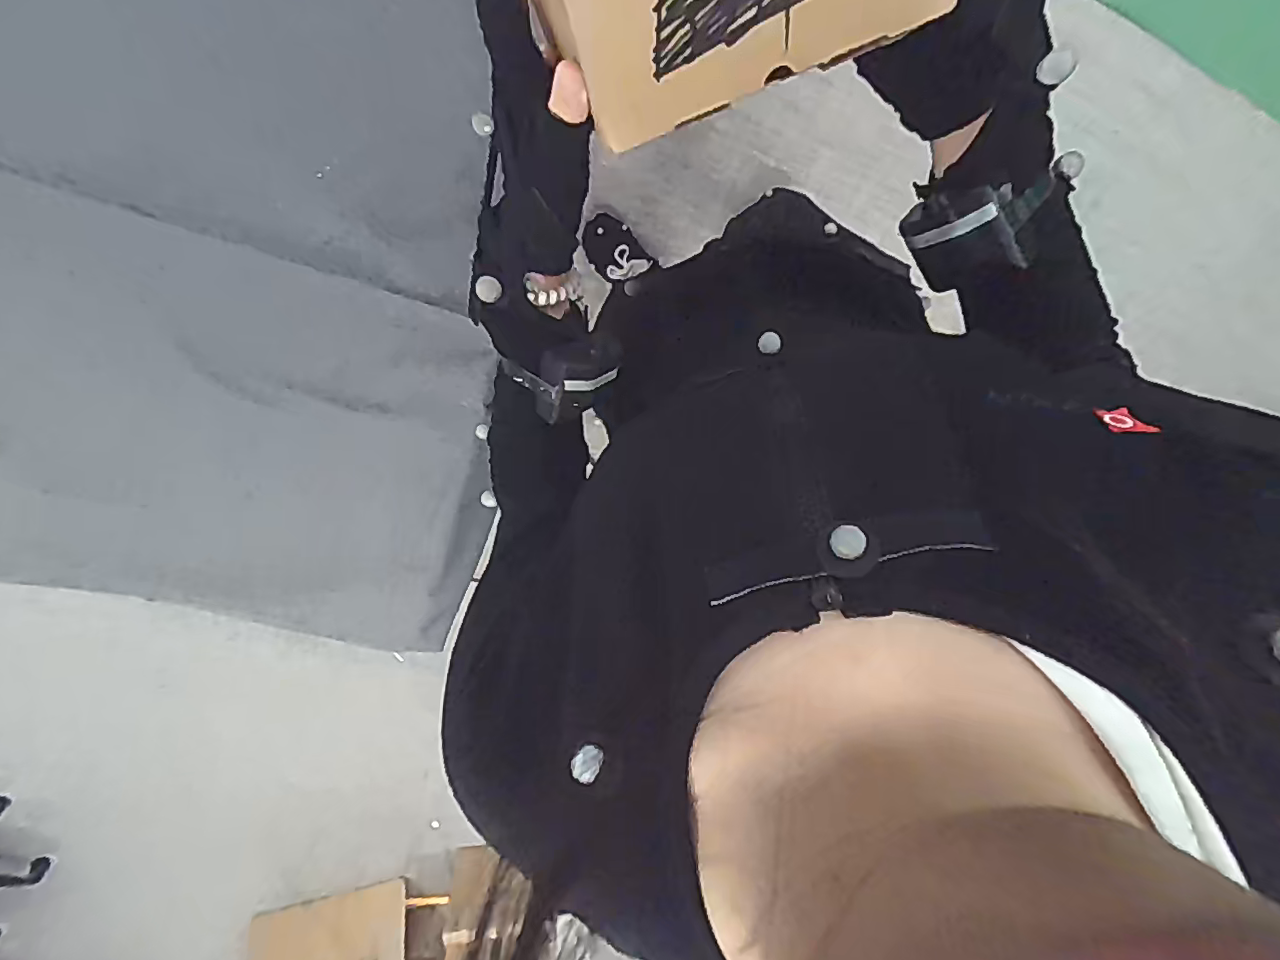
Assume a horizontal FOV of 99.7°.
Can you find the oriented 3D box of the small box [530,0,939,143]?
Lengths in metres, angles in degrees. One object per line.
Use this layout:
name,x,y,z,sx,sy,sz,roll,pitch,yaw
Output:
small box,0.016,-0.289,0.229,0.168,0.176,0.179,-21,140,3
